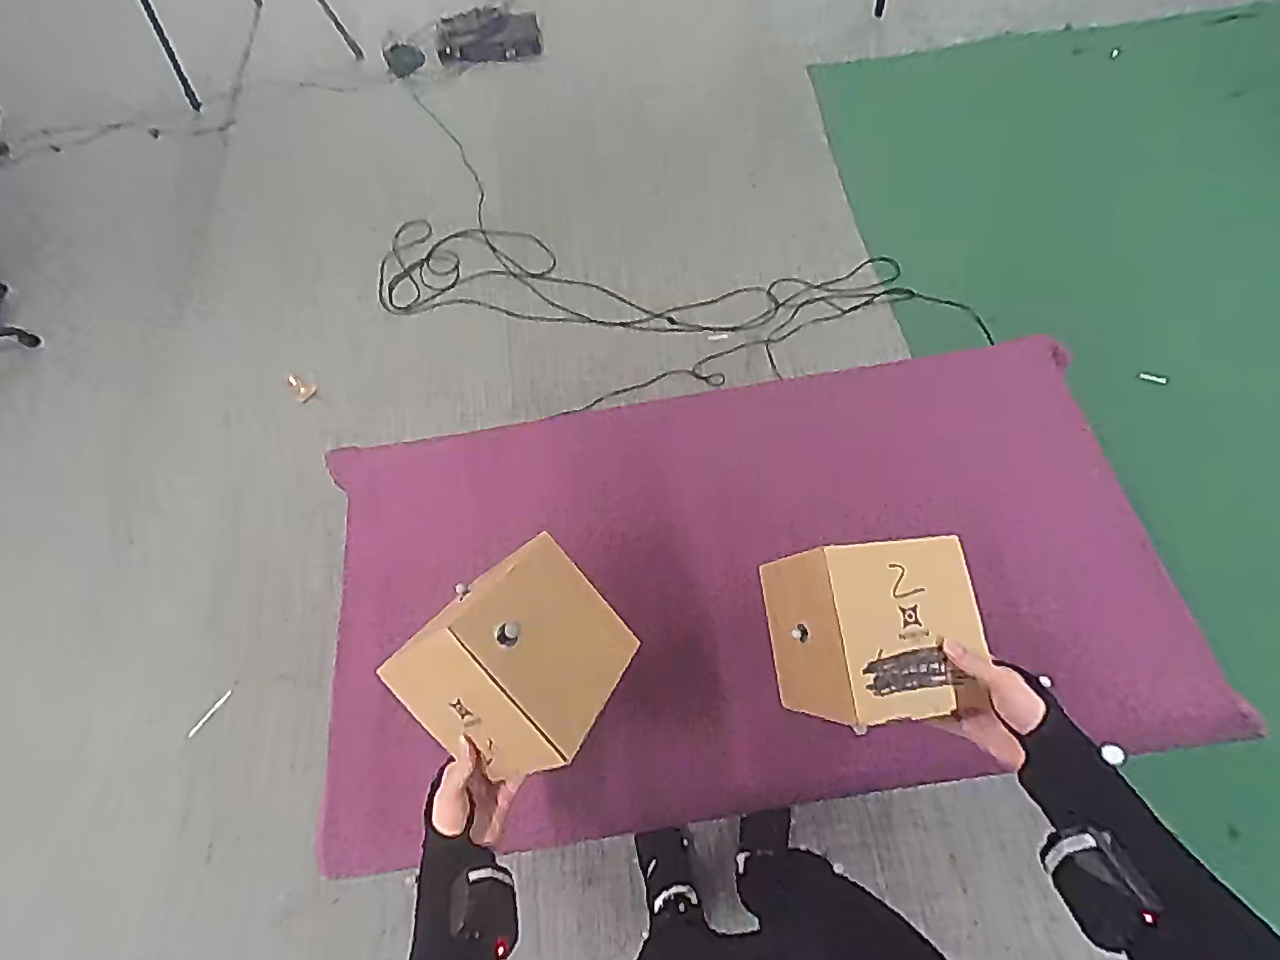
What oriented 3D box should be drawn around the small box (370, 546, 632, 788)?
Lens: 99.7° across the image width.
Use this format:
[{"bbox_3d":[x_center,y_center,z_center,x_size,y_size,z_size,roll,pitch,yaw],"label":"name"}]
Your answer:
[{"bbox_3d":[-0.142,0.194,0.590,0.179,0.168,0.176,52,36,-7],"label":"small box"}]
